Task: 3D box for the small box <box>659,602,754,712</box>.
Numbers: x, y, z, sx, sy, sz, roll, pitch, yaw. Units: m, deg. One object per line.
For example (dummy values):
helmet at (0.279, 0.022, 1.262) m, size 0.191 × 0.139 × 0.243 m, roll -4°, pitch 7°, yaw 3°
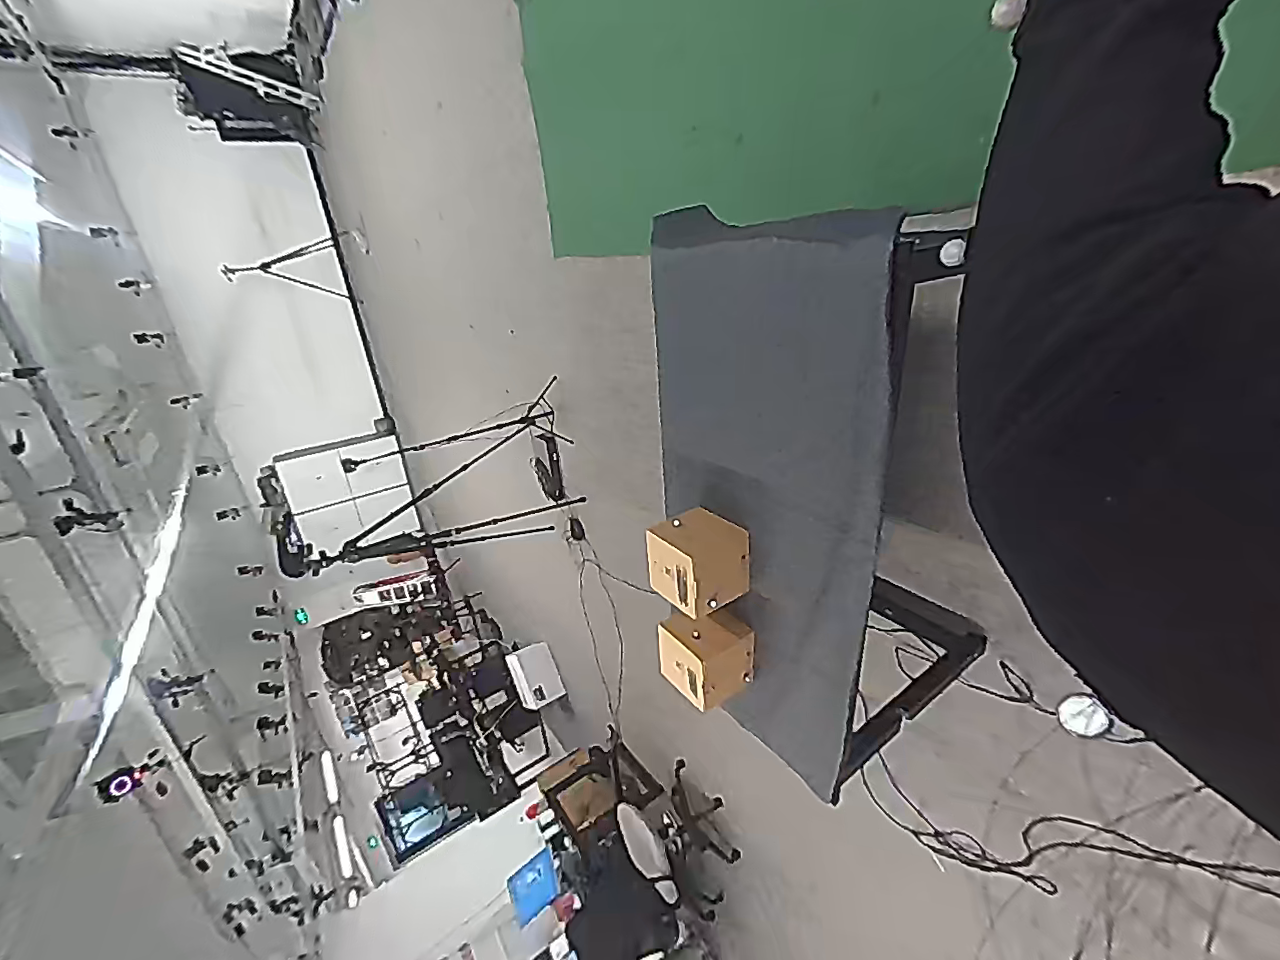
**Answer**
small box at (0.170, 0.435, 1.363) m, size 0.179 × 0.176 × 0.168 m, roll 29°, pitch 129°, yaw 50°
